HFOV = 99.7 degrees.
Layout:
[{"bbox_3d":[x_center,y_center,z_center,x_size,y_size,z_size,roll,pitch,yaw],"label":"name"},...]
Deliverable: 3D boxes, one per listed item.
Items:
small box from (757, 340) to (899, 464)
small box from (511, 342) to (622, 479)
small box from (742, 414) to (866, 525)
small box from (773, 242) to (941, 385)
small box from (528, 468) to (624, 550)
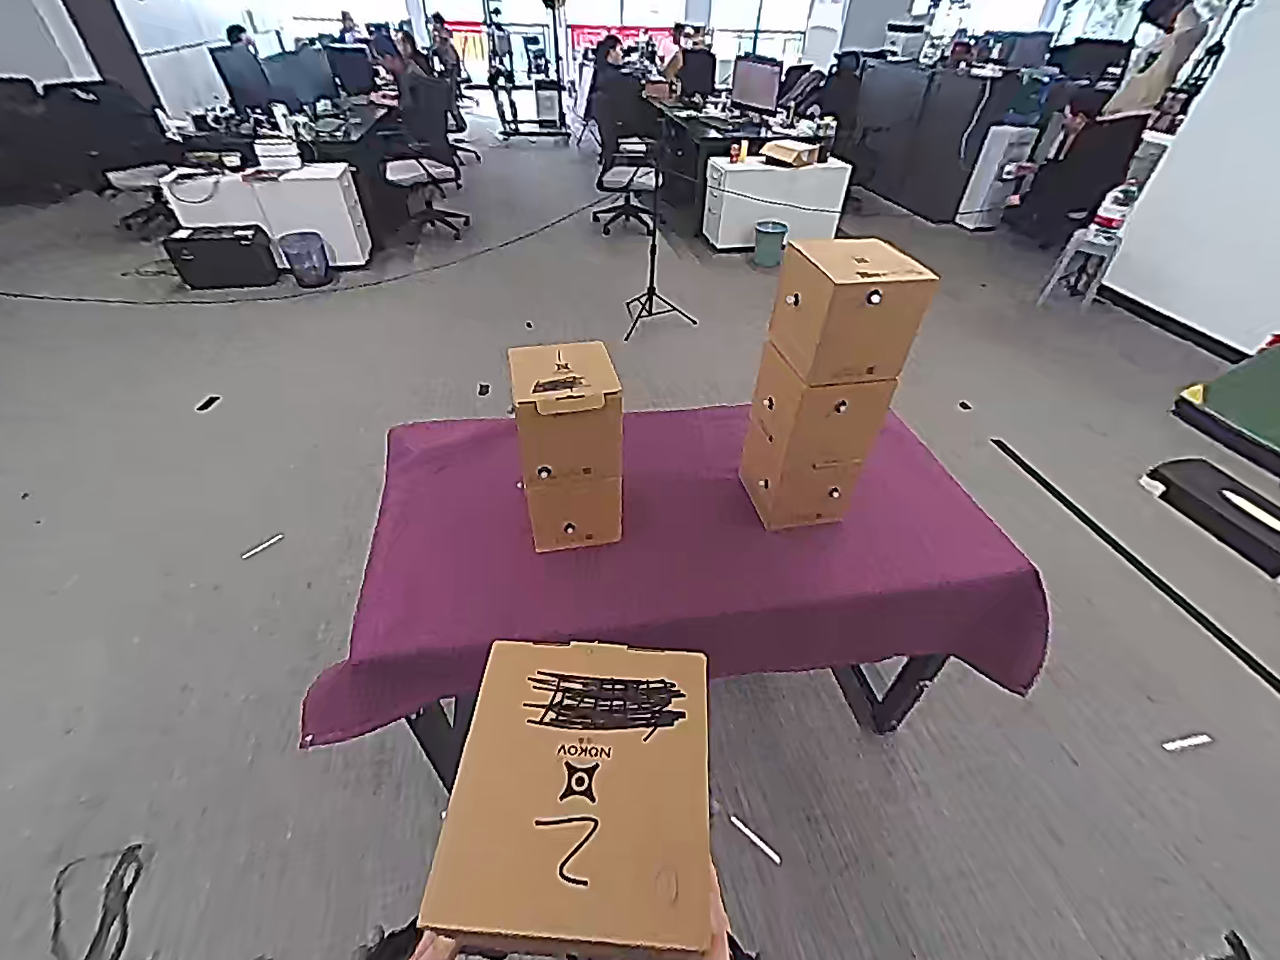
[{"bbox_3d":[0.322,-0.143,0.974,0.179,0.176,0.168,-6,43,-10],"label":"small box"},{"bbox_3d":[-0.124,-0.114,0.925,0.168,0.176,0.179,-7,42,-11],"label":"small box"},{"bbox_3d":[0.318,-0.023,1.086,0.168,0.176,0.179,-6,42,-9],"label":"small box"},{"bbox_3d":[0.331,-0.270,0.870,0.168,0.176,0.179,-6,42,-9],"label":"small box"},{"bbox_3d":[-0.128,0.009,1.033,0.168,0.176,0.179,-6,43,-10],"label":"small box"}]
